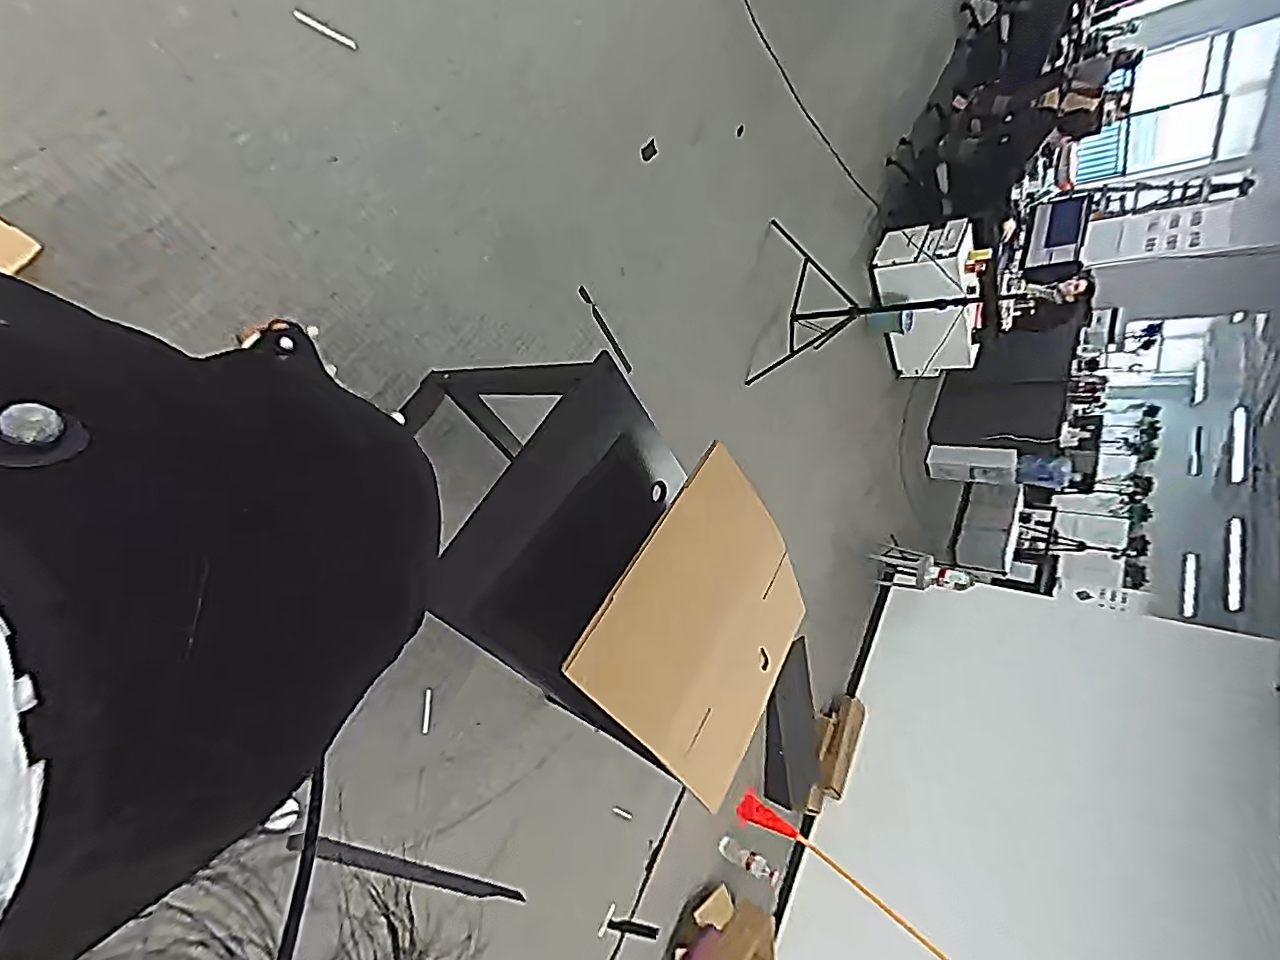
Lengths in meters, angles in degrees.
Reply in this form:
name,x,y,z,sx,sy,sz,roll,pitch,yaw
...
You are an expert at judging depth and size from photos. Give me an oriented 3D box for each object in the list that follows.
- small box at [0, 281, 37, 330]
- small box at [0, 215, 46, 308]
name,x,y,z,sx,sy,sz,roll,pitch,yaw
small box,-1.149,-0.306,0.873,0.168,0.176,0.179,49,61,-41
small box,-0.900,-0.277,0.661,0.168,0.176,0.179,45,61,-42
